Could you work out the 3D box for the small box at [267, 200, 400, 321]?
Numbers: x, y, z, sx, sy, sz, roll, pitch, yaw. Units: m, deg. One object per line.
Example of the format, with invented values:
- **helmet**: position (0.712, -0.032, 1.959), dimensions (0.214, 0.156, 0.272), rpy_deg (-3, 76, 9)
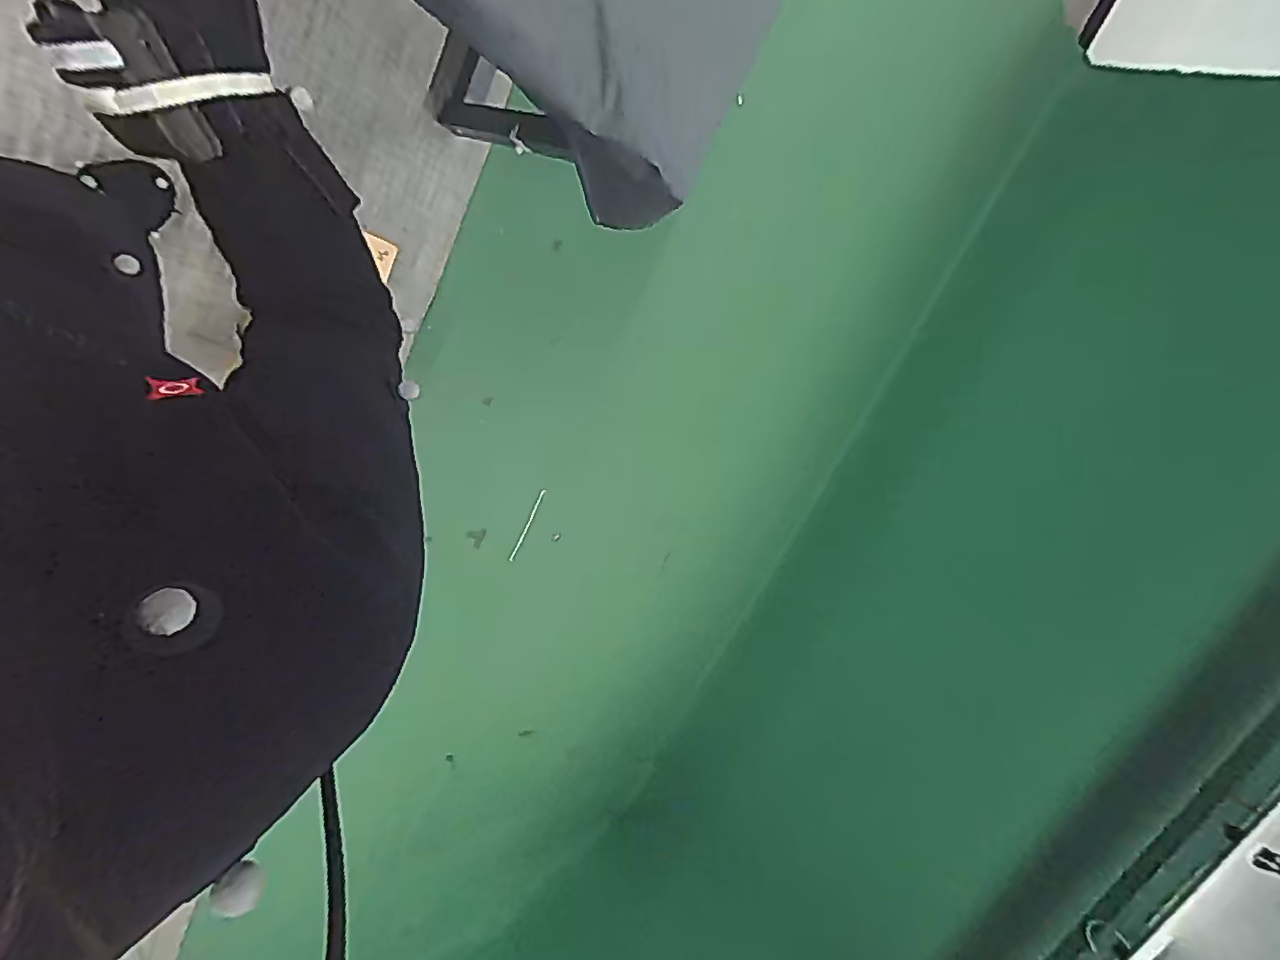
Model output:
- **small box**: position (-0.635, -0.453, 1.113), dimensions (0.179, 0.176, 0.168), rpy_deg (9, 110, -52)
